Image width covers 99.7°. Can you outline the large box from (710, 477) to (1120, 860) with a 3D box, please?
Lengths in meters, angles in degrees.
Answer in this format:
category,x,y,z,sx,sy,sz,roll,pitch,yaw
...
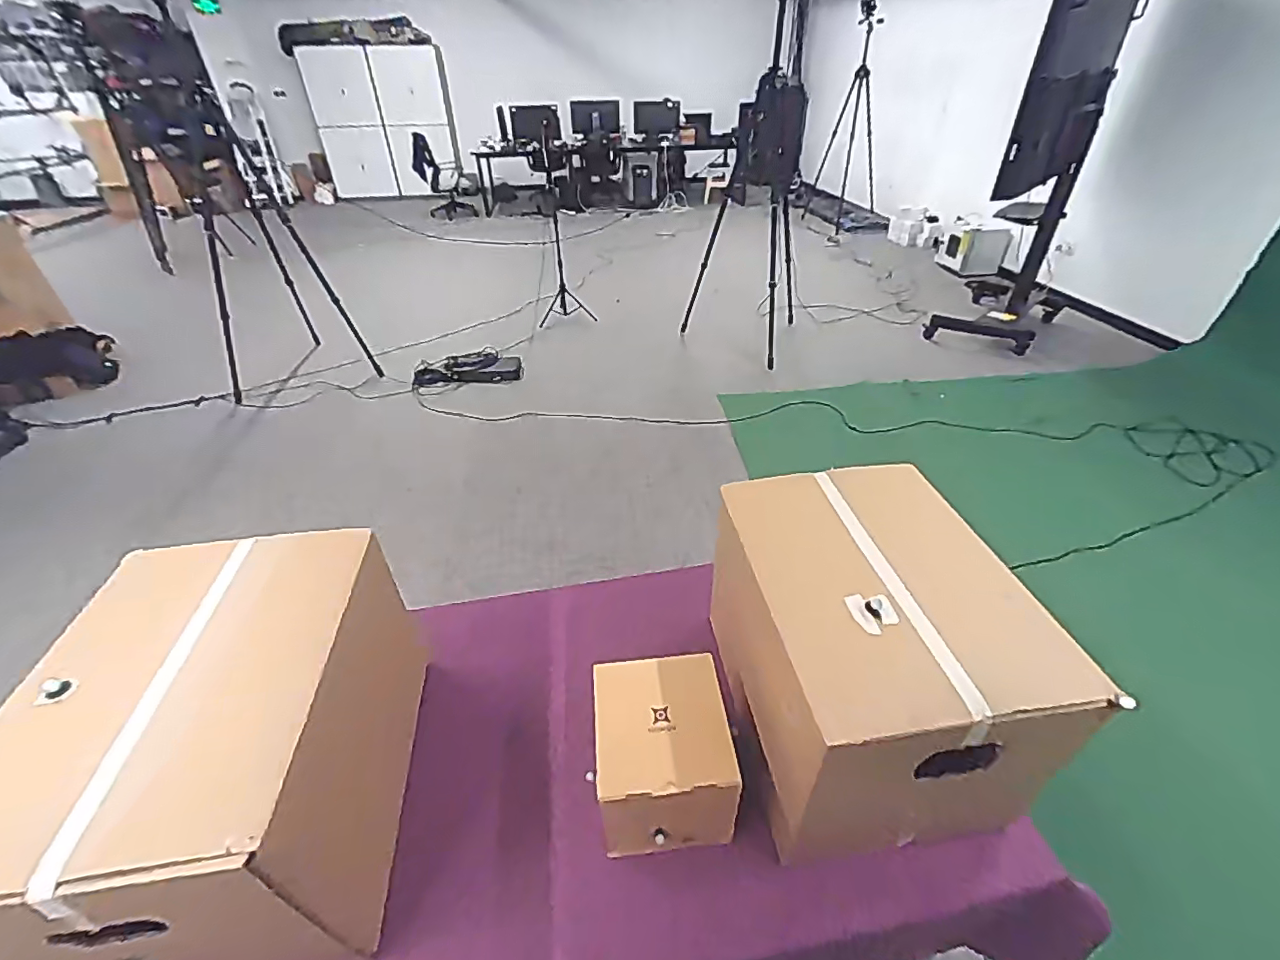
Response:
category,x,y,z,sx,sy,sz,roll,pitch,yaw
large box,0.306,0.242,0.772,0.320,0.320,0.408,-5,38,-5
